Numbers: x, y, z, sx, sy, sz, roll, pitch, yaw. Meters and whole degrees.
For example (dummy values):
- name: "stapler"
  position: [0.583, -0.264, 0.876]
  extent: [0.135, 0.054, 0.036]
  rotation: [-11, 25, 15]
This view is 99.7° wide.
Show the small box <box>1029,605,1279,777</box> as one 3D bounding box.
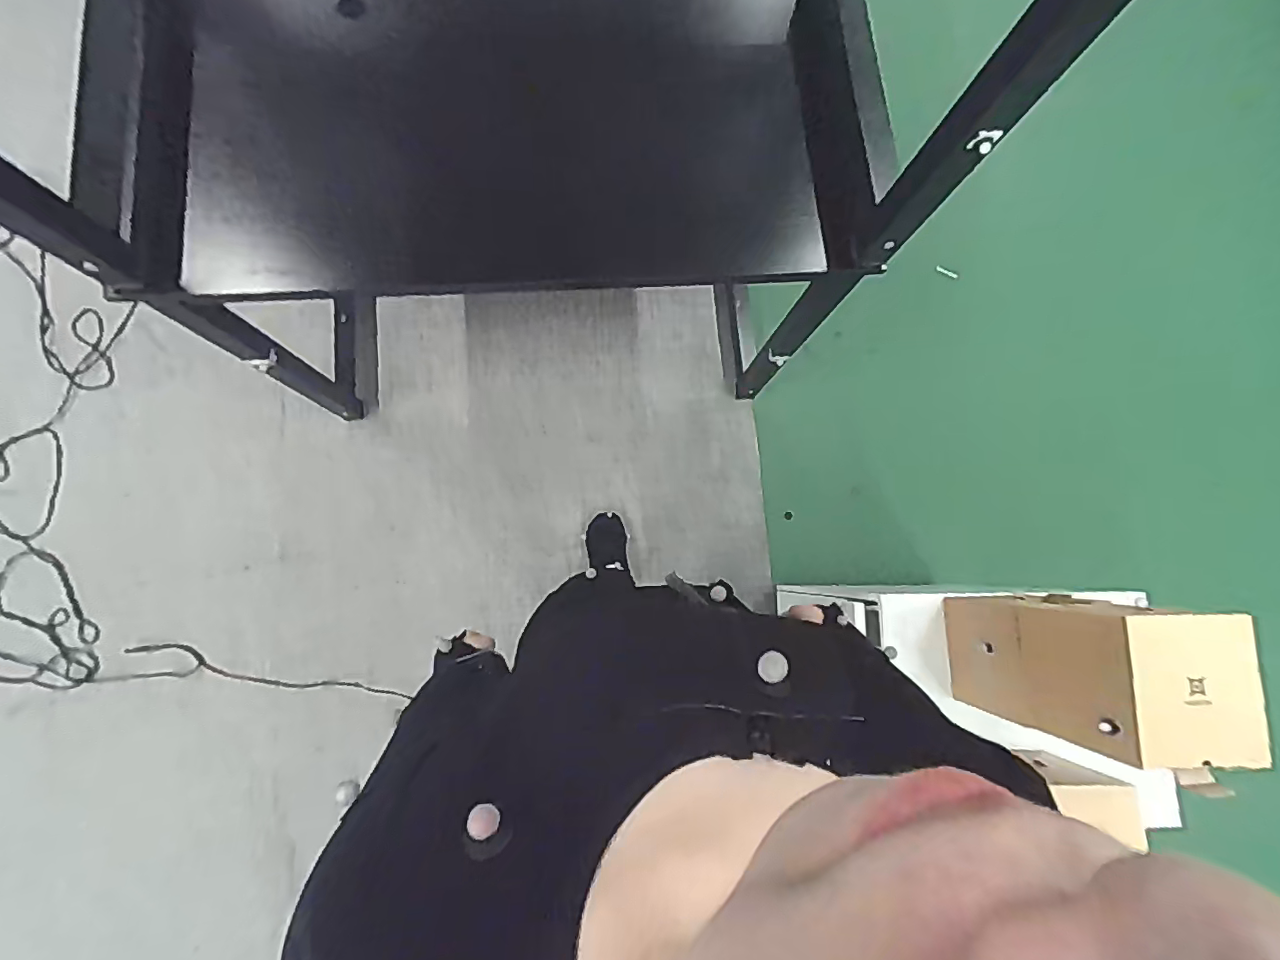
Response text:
- name: "small box"
  position: [0.638, 0.253, 0.691]
  extent: [0.168, 0.176, 0.179]
  rotation: [0, 83, -5]

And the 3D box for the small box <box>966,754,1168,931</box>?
- name: "small box"
  position: [0.618, 0.525, 0.808]
  extent: [0.168, 0.176, 0.179]
  rotation: [2, 80, -3]

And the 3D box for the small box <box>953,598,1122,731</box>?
- name: "small box"
  position: [0.624, 0.278, 0.852]
  extent: [0.168, 0.176, 0.179]
  rotation: [-1, 81, -4]
